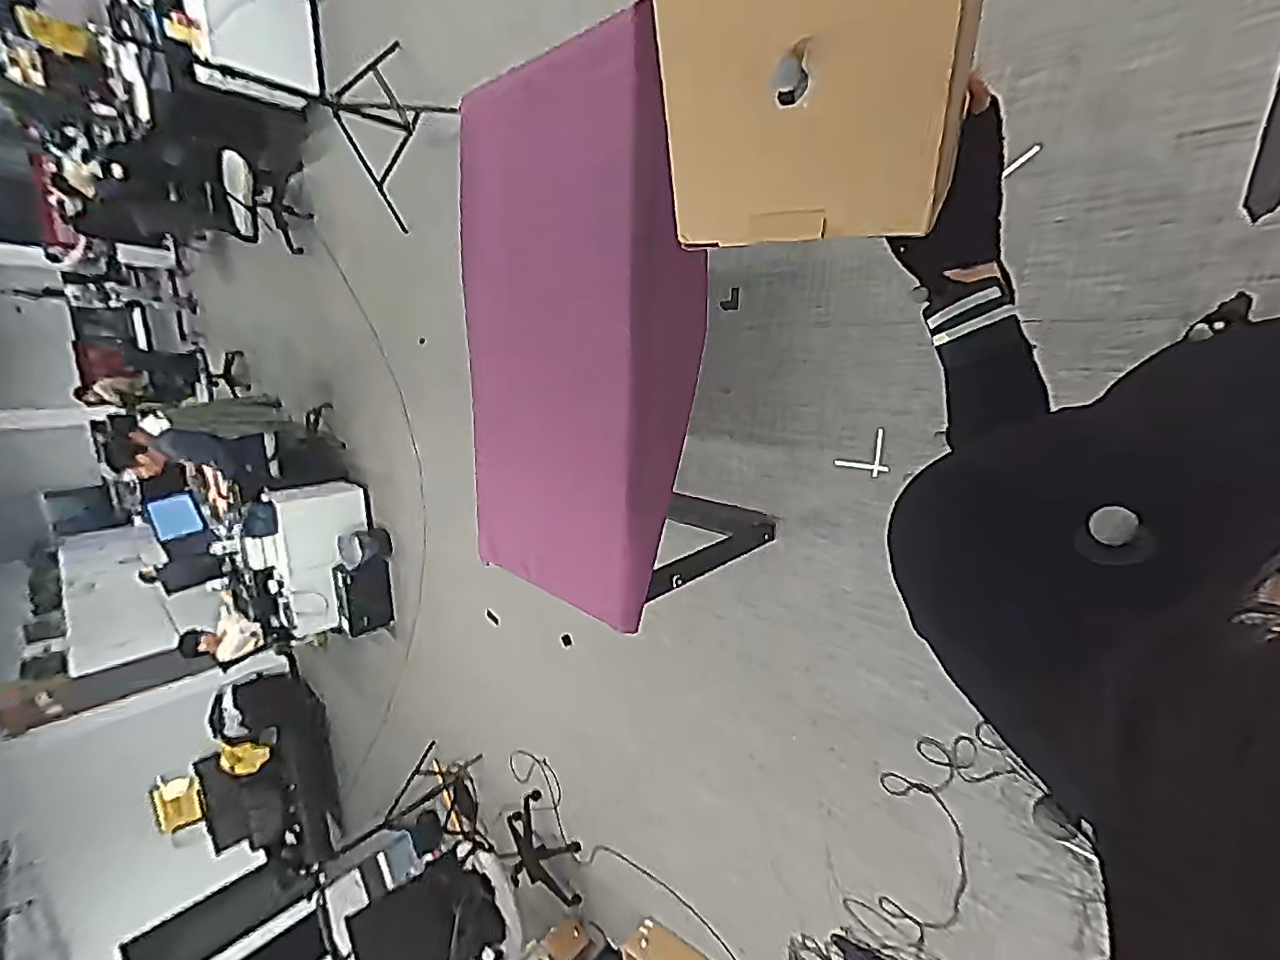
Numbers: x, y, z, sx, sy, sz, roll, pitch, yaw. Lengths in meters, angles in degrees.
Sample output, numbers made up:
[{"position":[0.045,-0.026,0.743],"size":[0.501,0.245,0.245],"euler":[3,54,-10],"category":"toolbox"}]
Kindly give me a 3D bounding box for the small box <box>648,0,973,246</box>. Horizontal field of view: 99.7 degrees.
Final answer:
[{"position":[0.117,-0.269,0.355],"size":[0.168,0.179,0.176],"euler":[11,130,28],"category":"small box"}]
